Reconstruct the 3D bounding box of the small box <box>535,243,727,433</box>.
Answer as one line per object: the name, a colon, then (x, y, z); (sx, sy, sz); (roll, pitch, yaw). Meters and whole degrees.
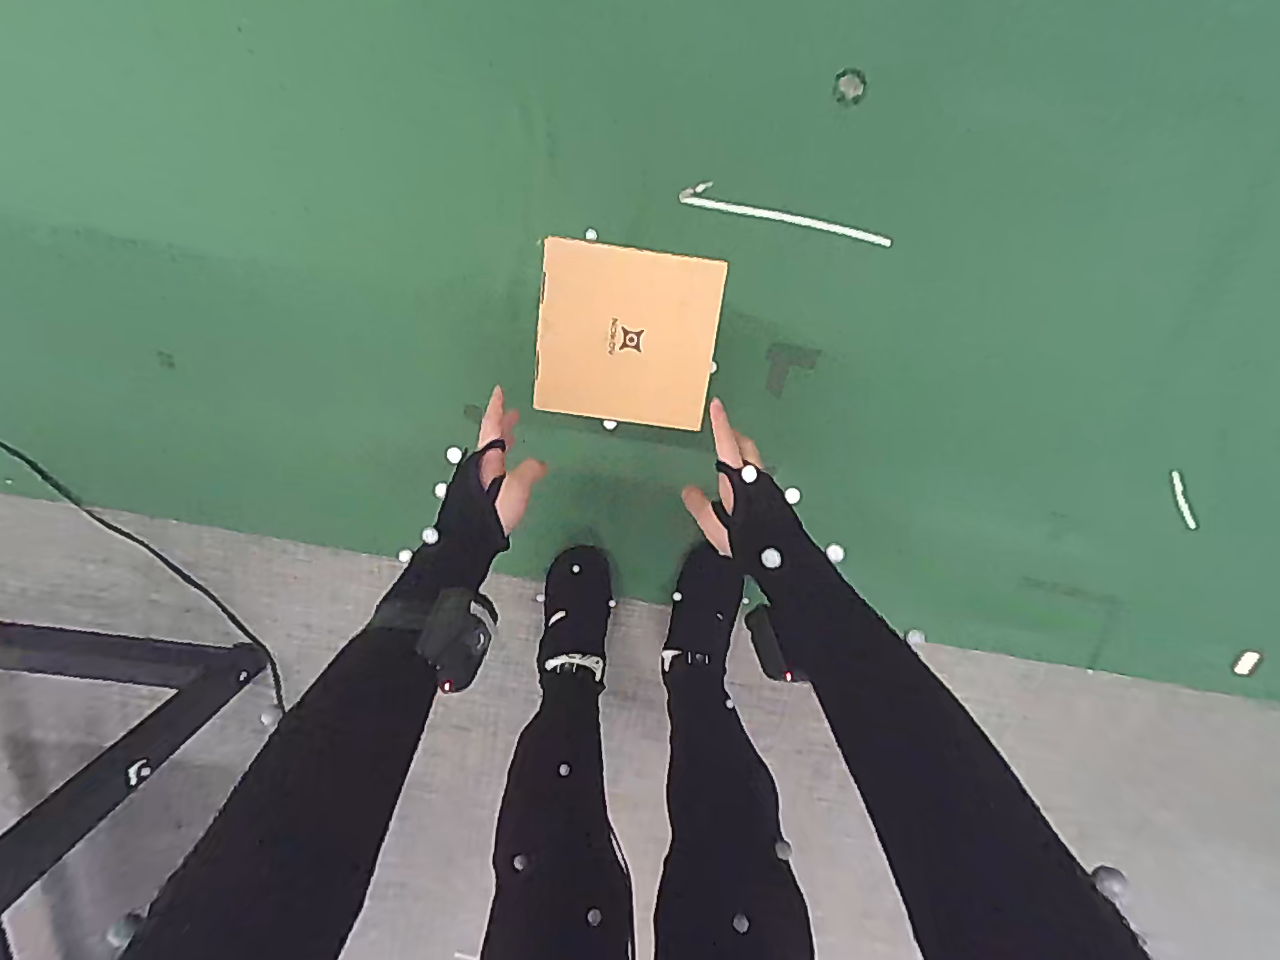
small box: (-0.009, -0.160, 0.609); (0.179, 0.176, 0.168); (8, 107, 1)
